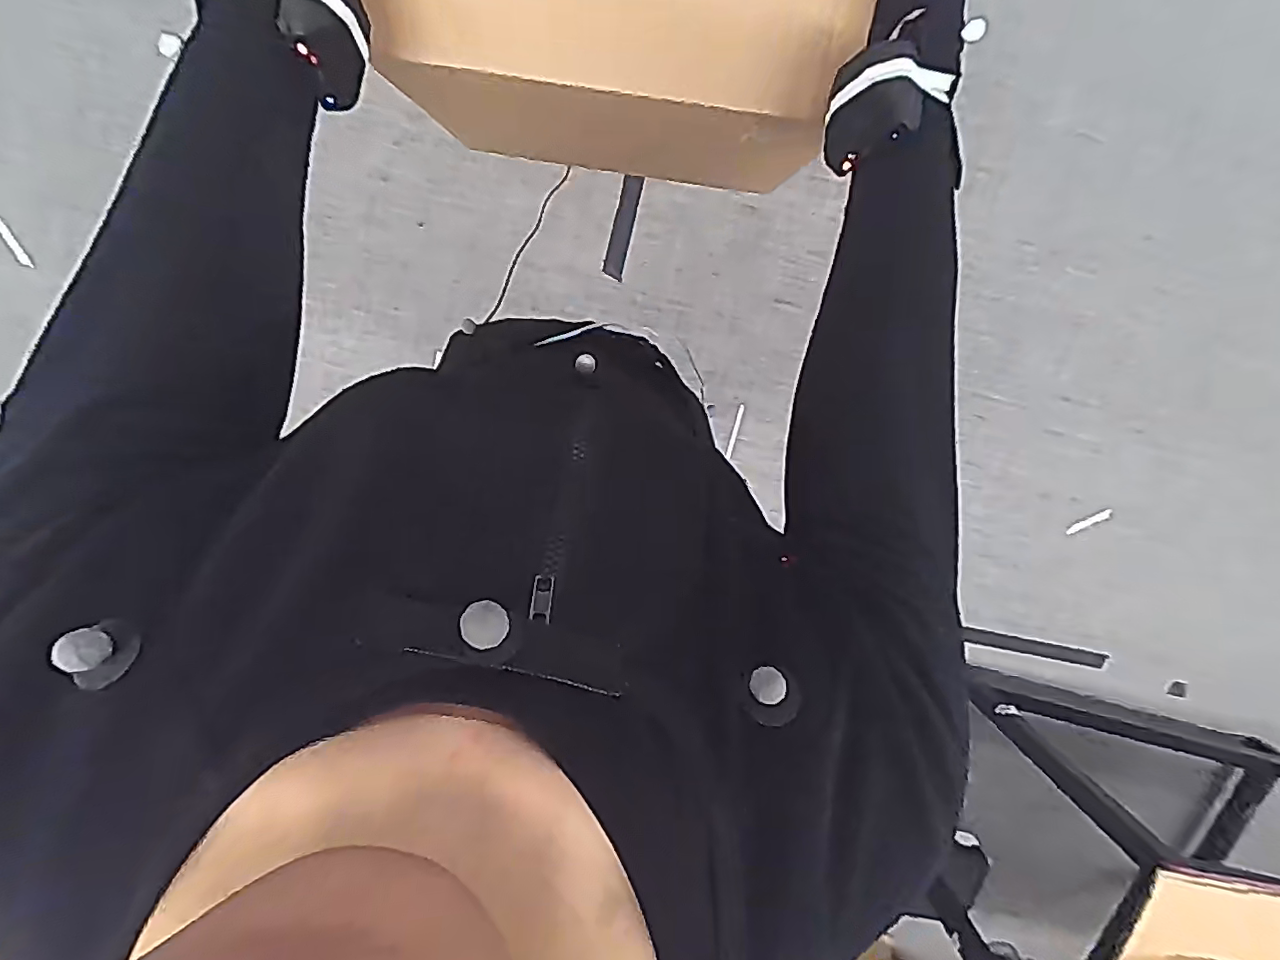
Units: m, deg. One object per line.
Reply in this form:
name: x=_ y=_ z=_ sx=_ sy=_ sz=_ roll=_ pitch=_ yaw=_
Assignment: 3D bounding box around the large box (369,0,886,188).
large box: x=0.000 y=-0.506 z=0.526 sx=0.408 sy=0.320 sz=0.320 roll=7 pitch=110 yaw=-3
